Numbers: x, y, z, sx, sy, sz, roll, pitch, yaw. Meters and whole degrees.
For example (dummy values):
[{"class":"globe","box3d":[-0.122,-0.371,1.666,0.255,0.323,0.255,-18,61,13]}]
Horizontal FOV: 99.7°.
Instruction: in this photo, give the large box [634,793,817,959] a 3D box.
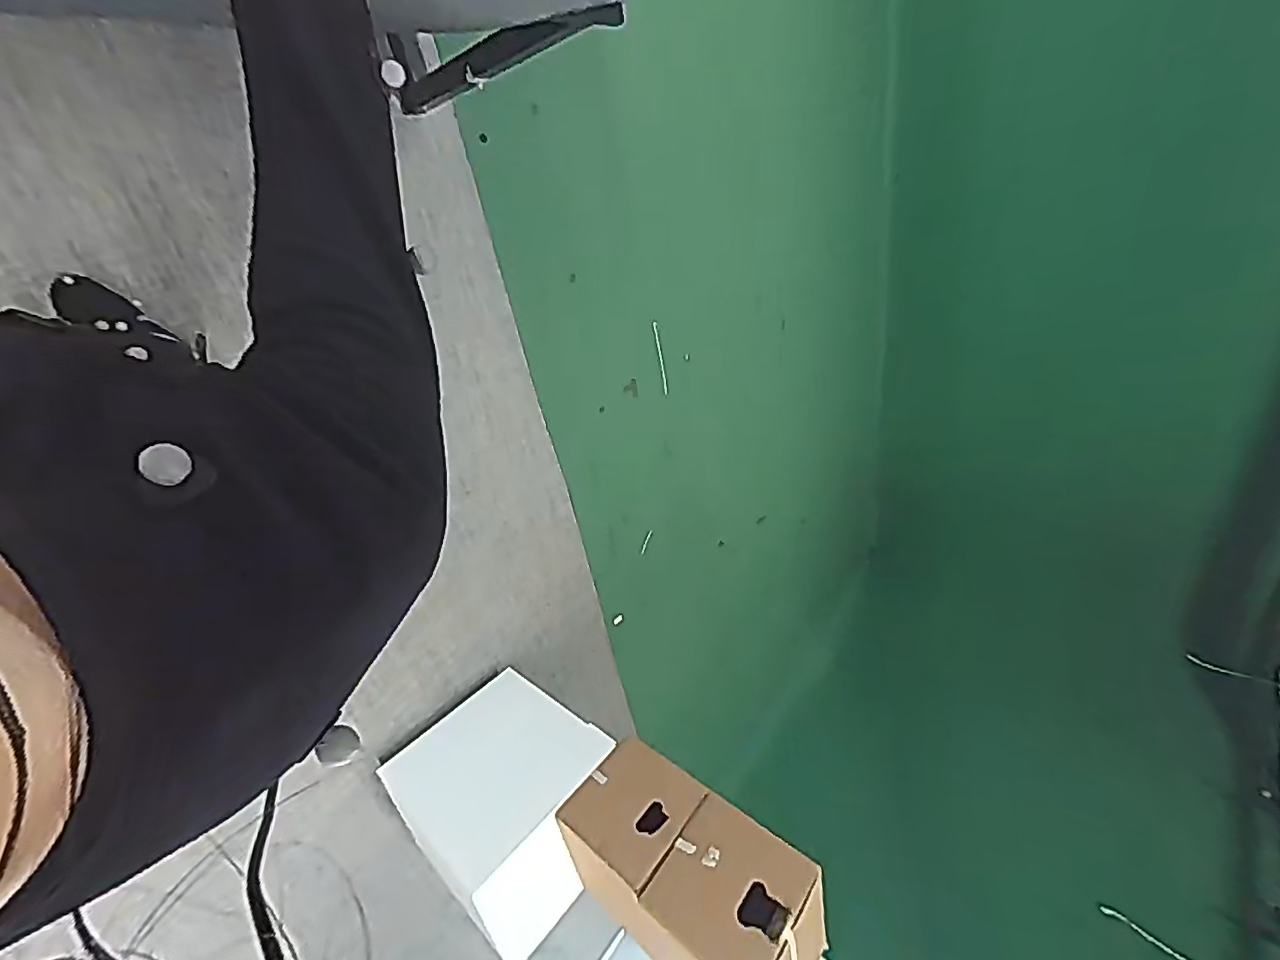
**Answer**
[{"class":"large box","box3d":[0.225,1.082,1.336,0.320,0.320,0.408,-38,129,-36]}]
